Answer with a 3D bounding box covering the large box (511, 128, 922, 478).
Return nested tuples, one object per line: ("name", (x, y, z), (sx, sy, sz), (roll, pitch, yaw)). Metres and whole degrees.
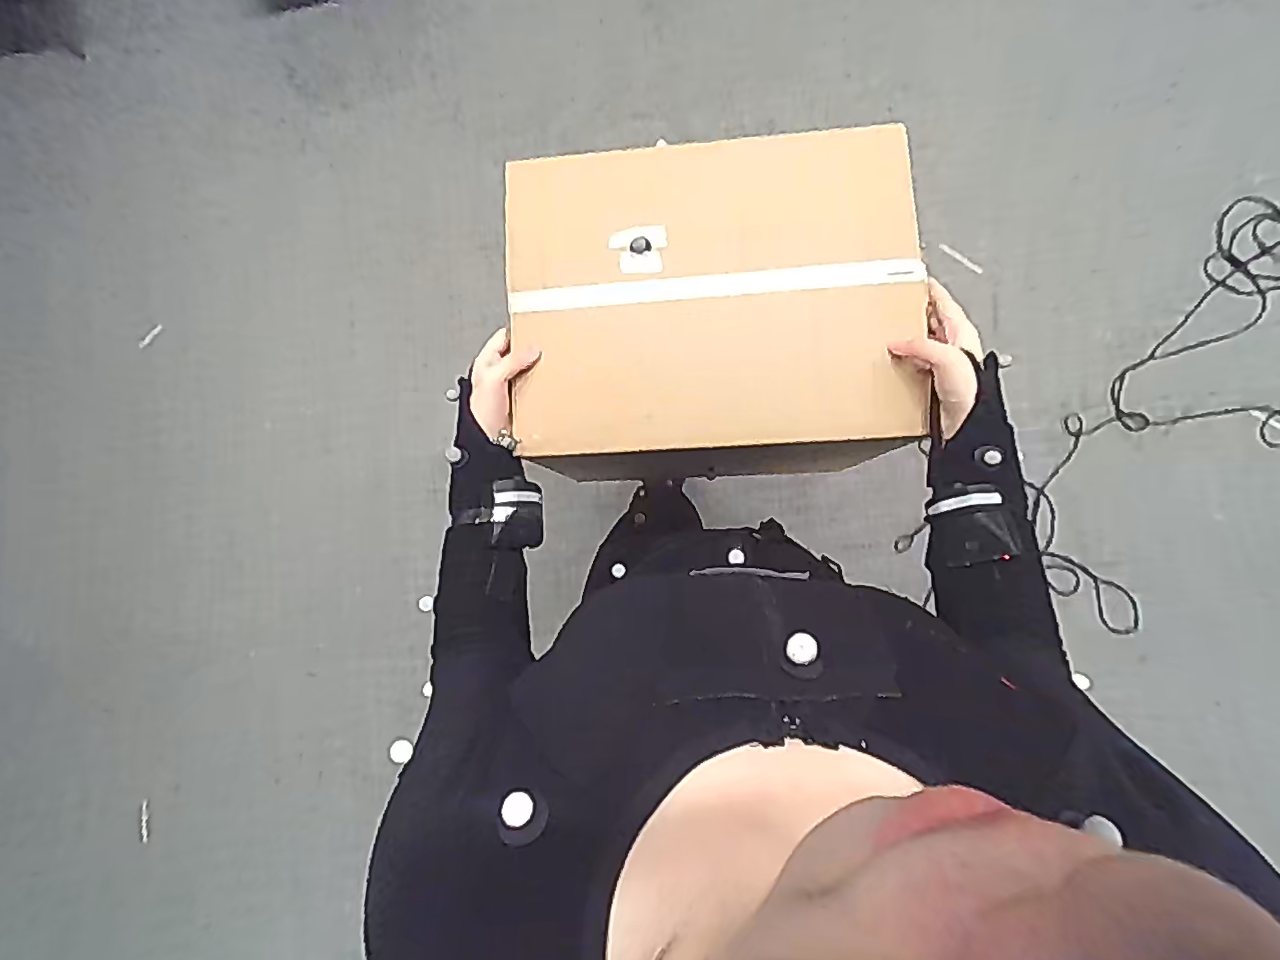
("large box", (0.083, -0.177, 0.697), (0.408, 0.320, 0.320), (-4, 84, 6))
